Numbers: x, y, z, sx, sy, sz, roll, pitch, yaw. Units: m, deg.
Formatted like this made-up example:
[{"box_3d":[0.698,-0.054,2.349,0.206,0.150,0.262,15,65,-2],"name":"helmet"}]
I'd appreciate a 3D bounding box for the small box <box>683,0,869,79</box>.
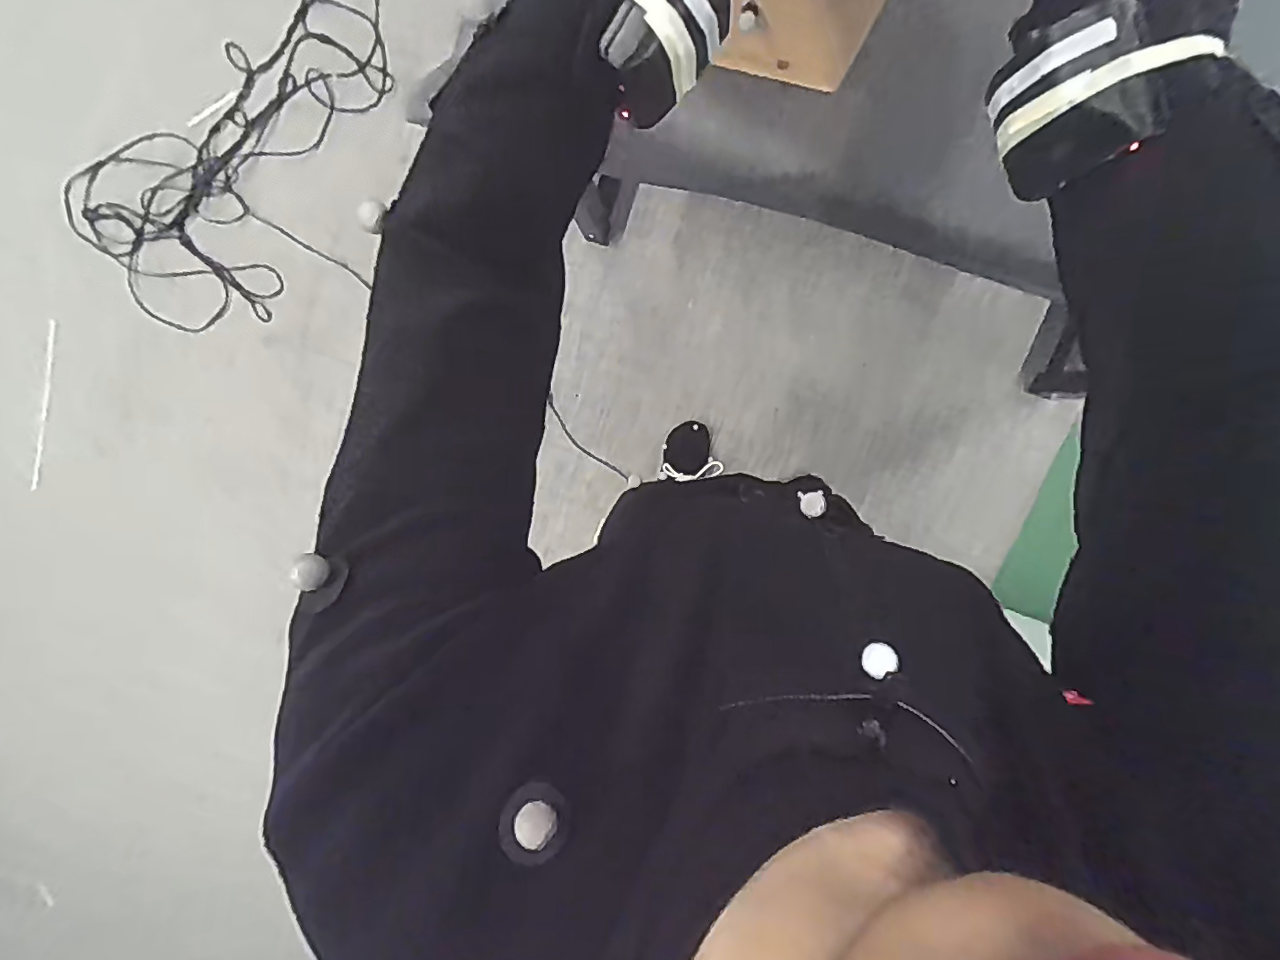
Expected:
[{"box_3d":[0.135,-0.499,0.471,0.168,0.176,0.179,14,99,0],"name":"small box"}]
